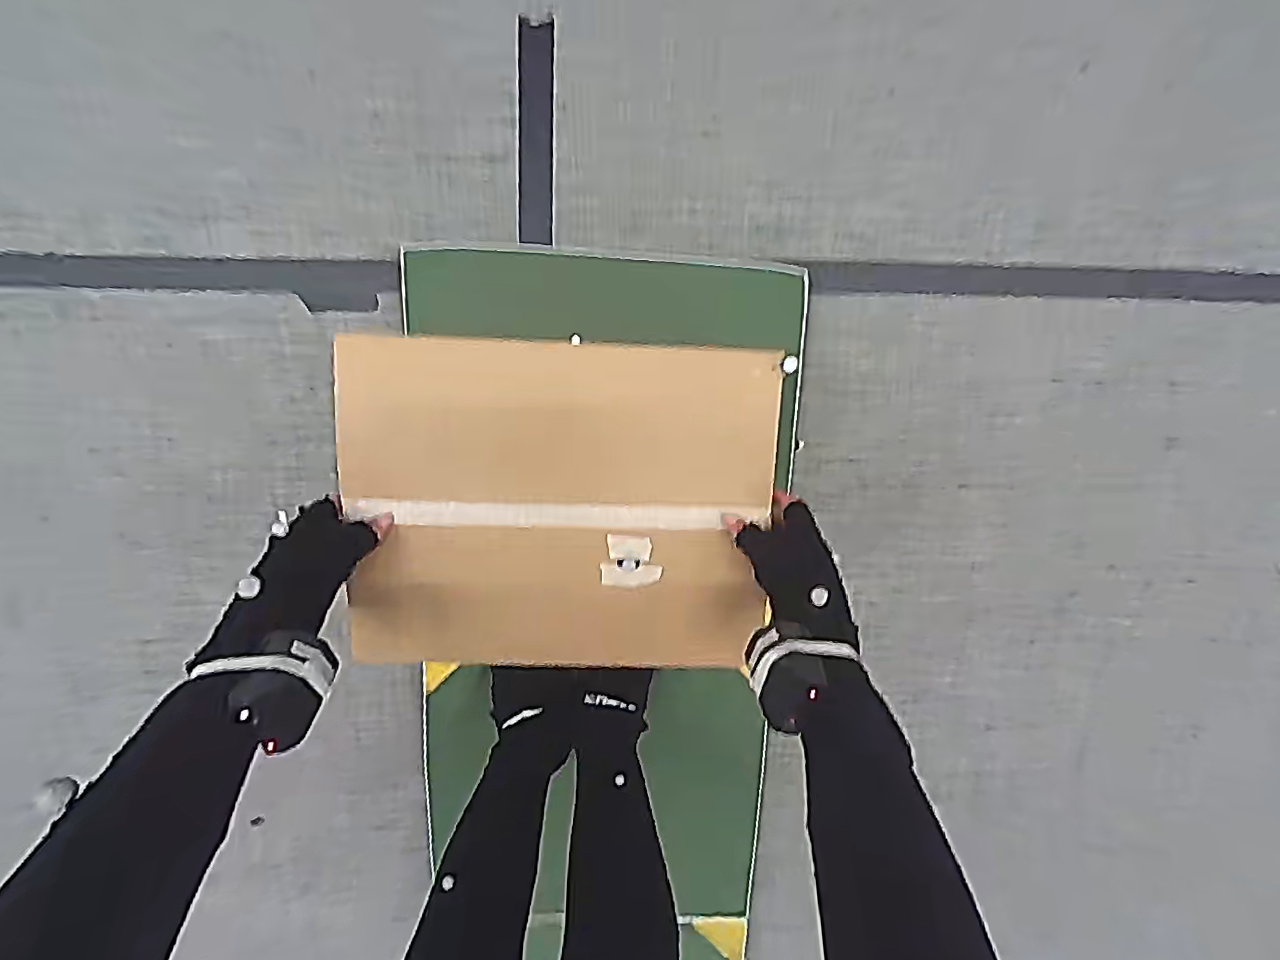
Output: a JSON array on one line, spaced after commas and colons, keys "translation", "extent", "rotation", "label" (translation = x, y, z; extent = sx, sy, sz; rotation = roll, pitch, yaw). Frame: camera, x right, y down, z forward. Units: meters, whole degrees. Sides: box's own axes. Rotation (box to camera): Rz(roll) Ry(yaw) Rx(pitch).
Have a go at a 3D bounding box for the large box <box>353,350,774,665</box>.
[{"translation": [-0.082, 0.015, 0.677], "extent": [0.408, 0.320, 0.320], "rotation": [2, 99, -4], "label": "large box"}]
